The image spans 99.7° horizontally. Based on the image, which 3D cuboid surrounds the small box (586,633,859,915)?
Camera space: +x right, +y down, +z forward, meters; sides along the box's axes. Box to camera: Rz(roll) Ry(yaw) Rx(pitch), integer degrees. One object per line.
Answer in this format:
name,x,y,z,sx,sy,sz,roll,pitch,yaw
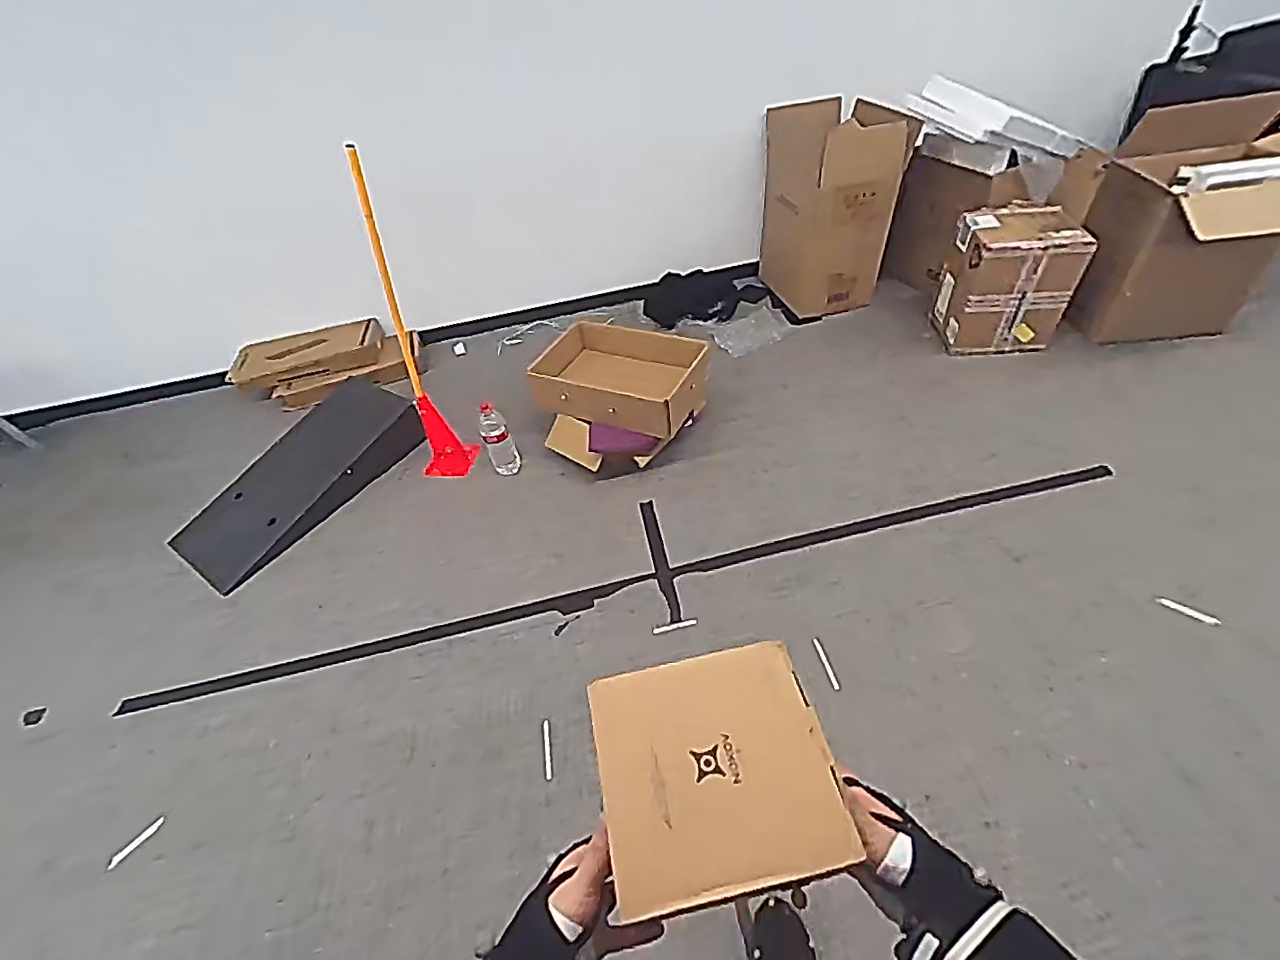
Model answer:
small box,0.061,0.263,0.480,0.179,0.176,0.168,-14,49,-3
